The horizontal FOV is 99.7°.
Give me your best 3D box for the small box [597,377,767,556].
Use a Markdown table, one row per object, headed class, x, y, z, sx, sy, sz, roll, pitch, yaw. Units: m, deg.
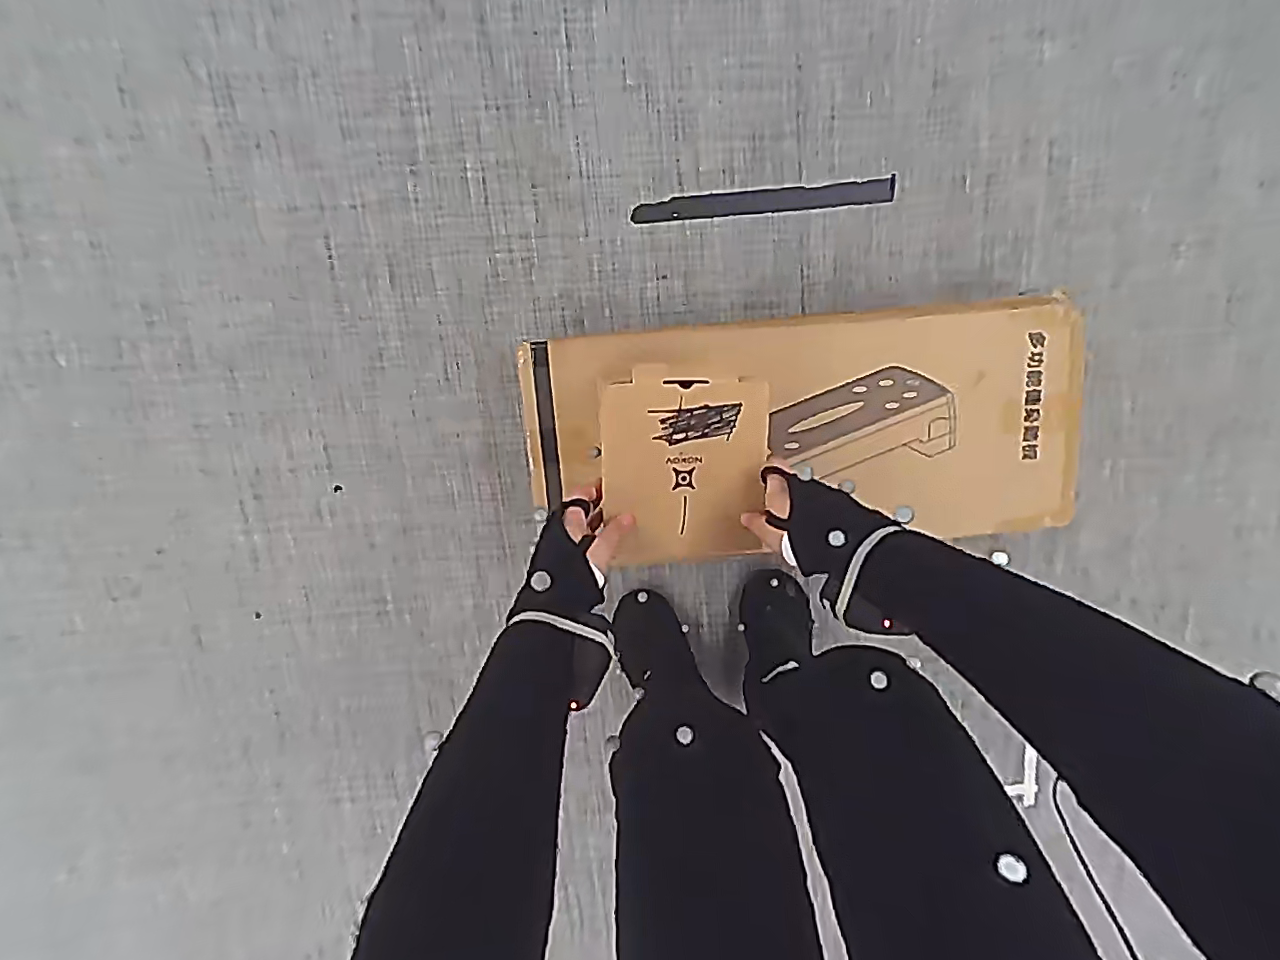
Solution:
| class | x | y | z | sx | sy | sz | roll | pitch | yaw |
| --- | --- | --- | --- | --- | --- | --- | --- | --- | --- |
| small box | 0.036 | -0.027 | 0.613 | 0.168 | 0.176 | 0.179 | -2 | 104 | -5 |
